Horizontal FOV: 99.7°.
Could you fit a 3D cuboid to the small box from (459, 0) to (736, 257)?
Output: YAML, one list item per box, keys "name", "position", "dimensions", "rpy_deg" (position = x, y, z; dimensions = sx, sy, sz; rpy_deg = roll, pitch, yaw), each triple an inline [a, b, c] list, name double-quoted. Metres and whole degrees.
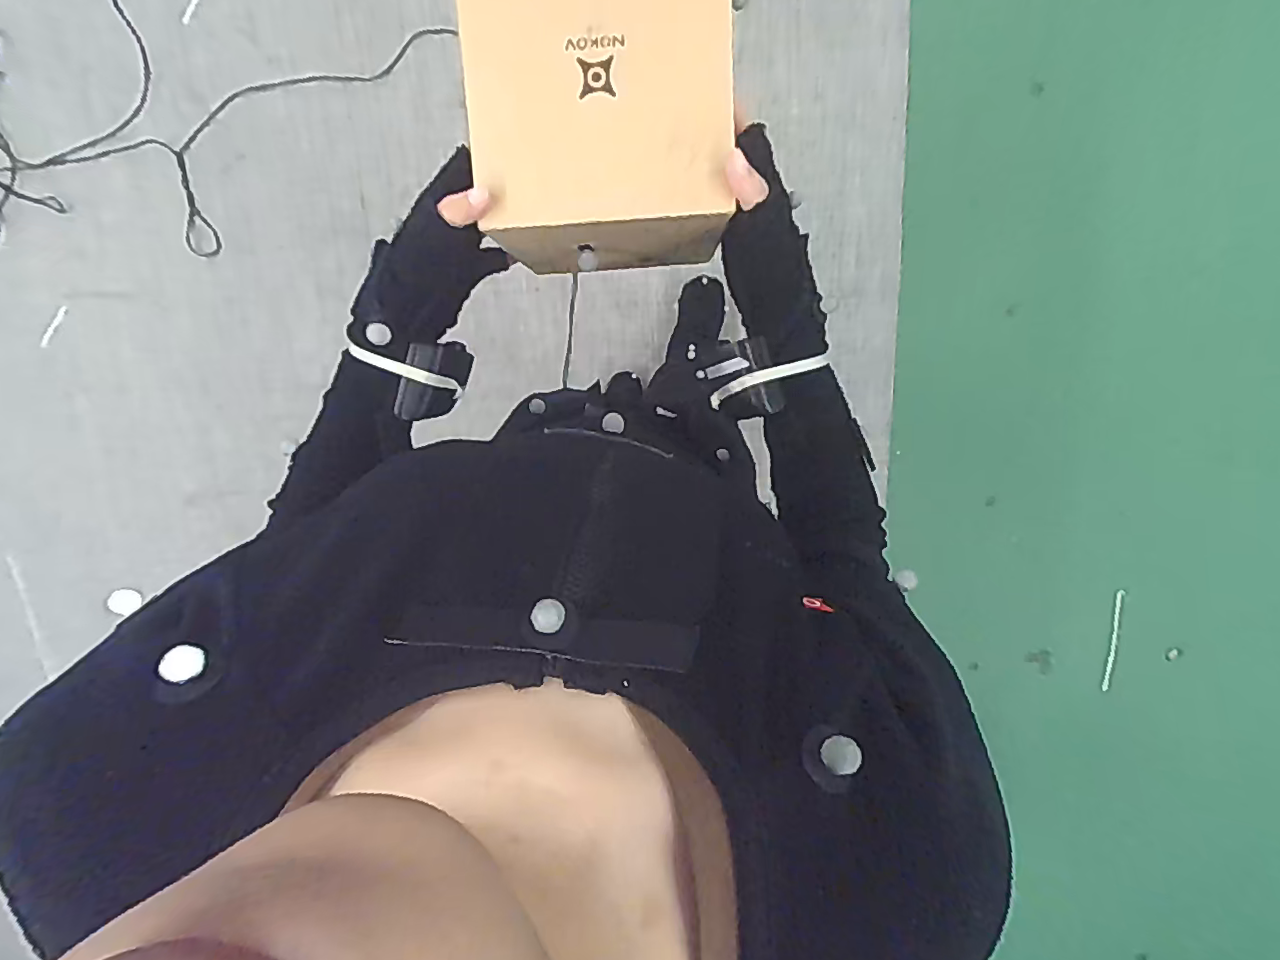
- name: "small box"
  position: [-0.021, -0.273, 0.400]
  dimensions: [0.168, 0.176, 0.179]
  rpy_deg: [-3, 100, 3]
